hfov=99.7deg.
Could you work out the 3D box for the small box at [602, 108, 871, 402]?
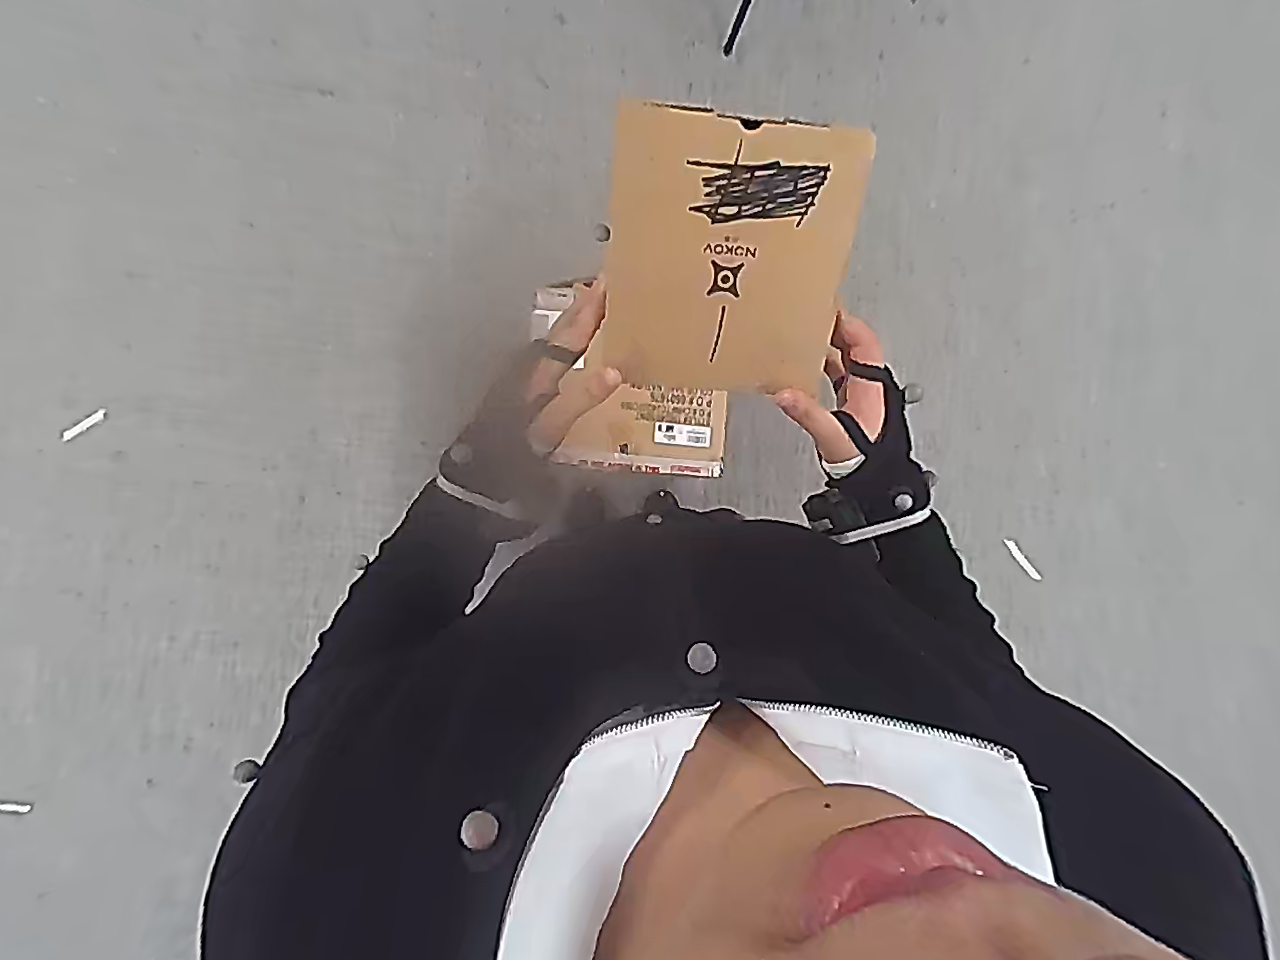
[{"bbox_3d":[0.056,-0.175,0.444,0.168,0.176,0.179,3,113,-5],"label":"small box"}]
